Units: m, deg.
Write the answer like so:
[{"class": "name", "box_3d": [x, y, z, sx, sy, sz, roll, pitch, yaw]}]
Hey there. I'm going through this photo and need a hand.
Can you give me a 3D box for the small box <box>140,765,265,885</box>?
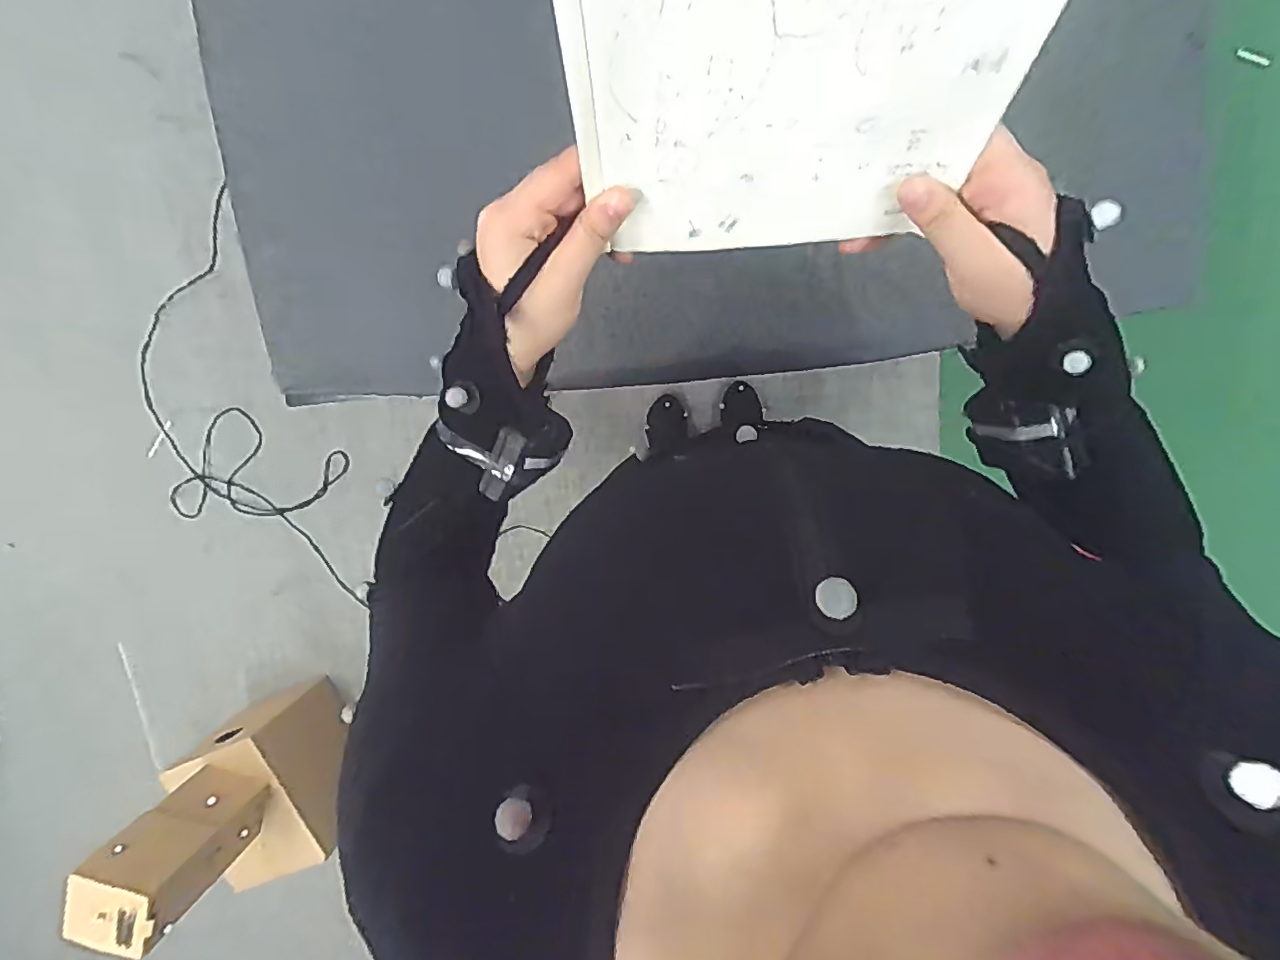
[{"class": "small box", "box_3d": [-1.078, 0.848, 1.345, 0.179, 0.176, 0.168, 16, 100, -1]}]
